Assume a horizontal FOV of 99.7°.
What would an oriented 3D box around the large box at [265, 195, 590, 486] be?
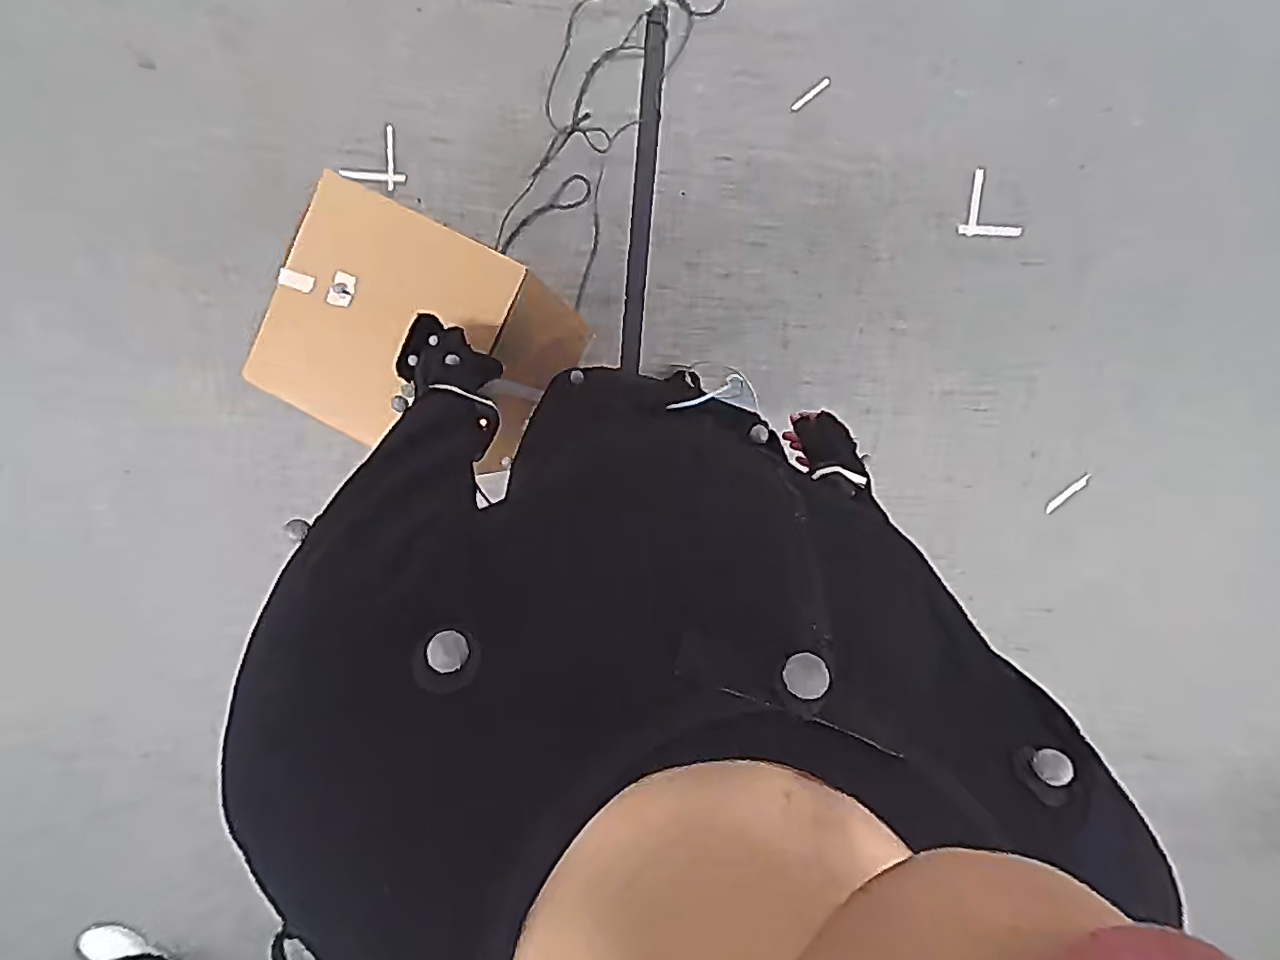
[{"bbox_3d":[-0.321,-0.211,0.929,0.320,0.408,0.320,27,98,3],"label":"large box"}]
